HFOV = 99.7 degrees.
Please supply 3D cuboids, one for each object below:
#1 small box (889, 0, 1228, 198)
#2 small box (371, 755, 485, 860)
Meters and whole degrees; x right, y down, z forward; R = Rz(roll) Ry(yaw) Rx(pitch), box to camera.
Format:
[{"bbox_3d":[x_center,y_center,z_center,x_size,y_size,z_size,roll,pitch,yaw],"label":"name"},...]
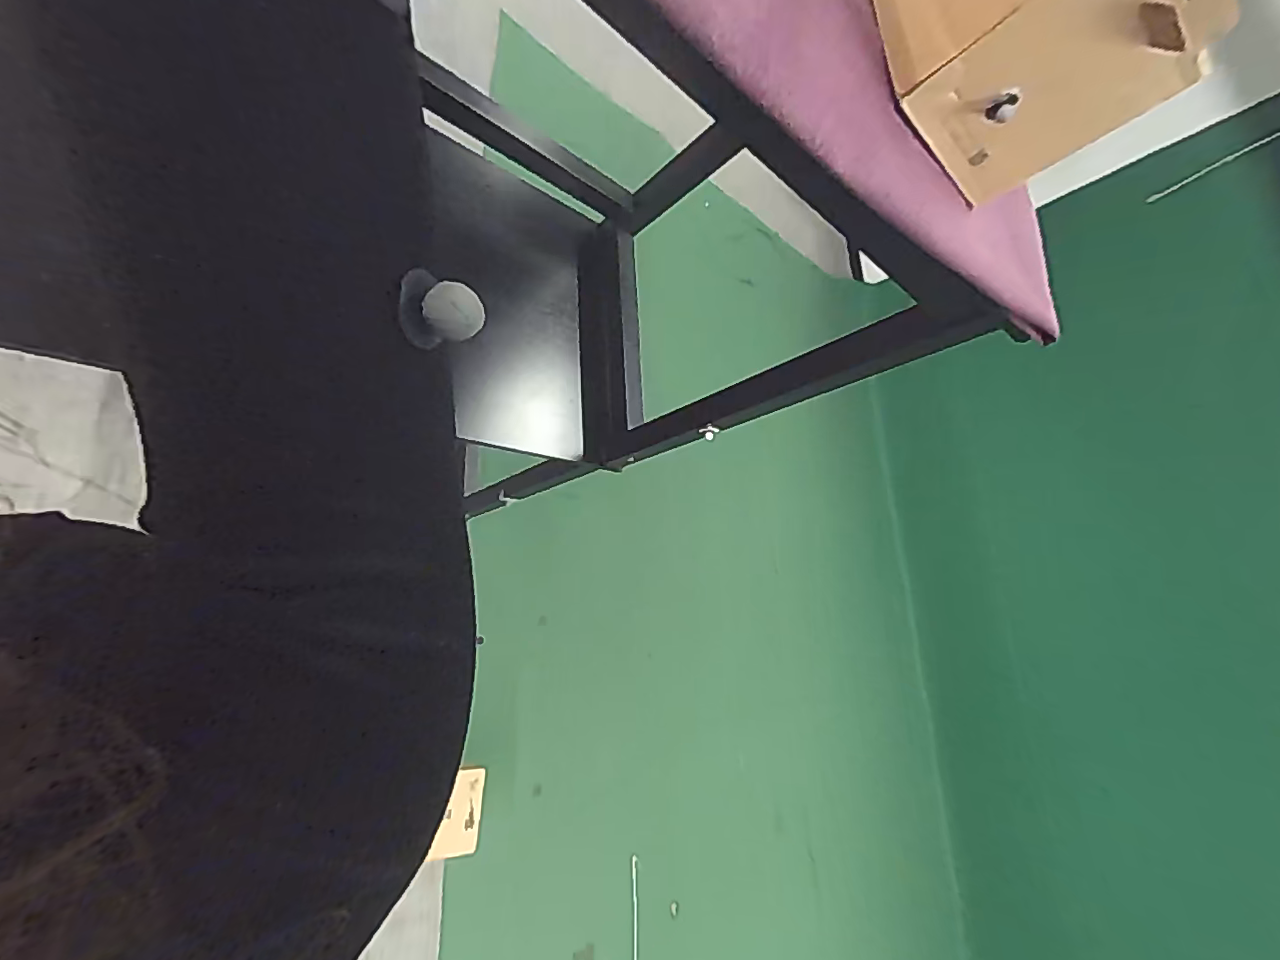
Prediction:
[{"bbox_3d":[0.318,-0.378,0.433,0.168,0.176,0.179,14,67,-39],"label":"small box"},{"bbox_3d":[-0.470,0.712,1.195,0.179,0.176,0.168,20,64,-38],"label":"small box"}]
